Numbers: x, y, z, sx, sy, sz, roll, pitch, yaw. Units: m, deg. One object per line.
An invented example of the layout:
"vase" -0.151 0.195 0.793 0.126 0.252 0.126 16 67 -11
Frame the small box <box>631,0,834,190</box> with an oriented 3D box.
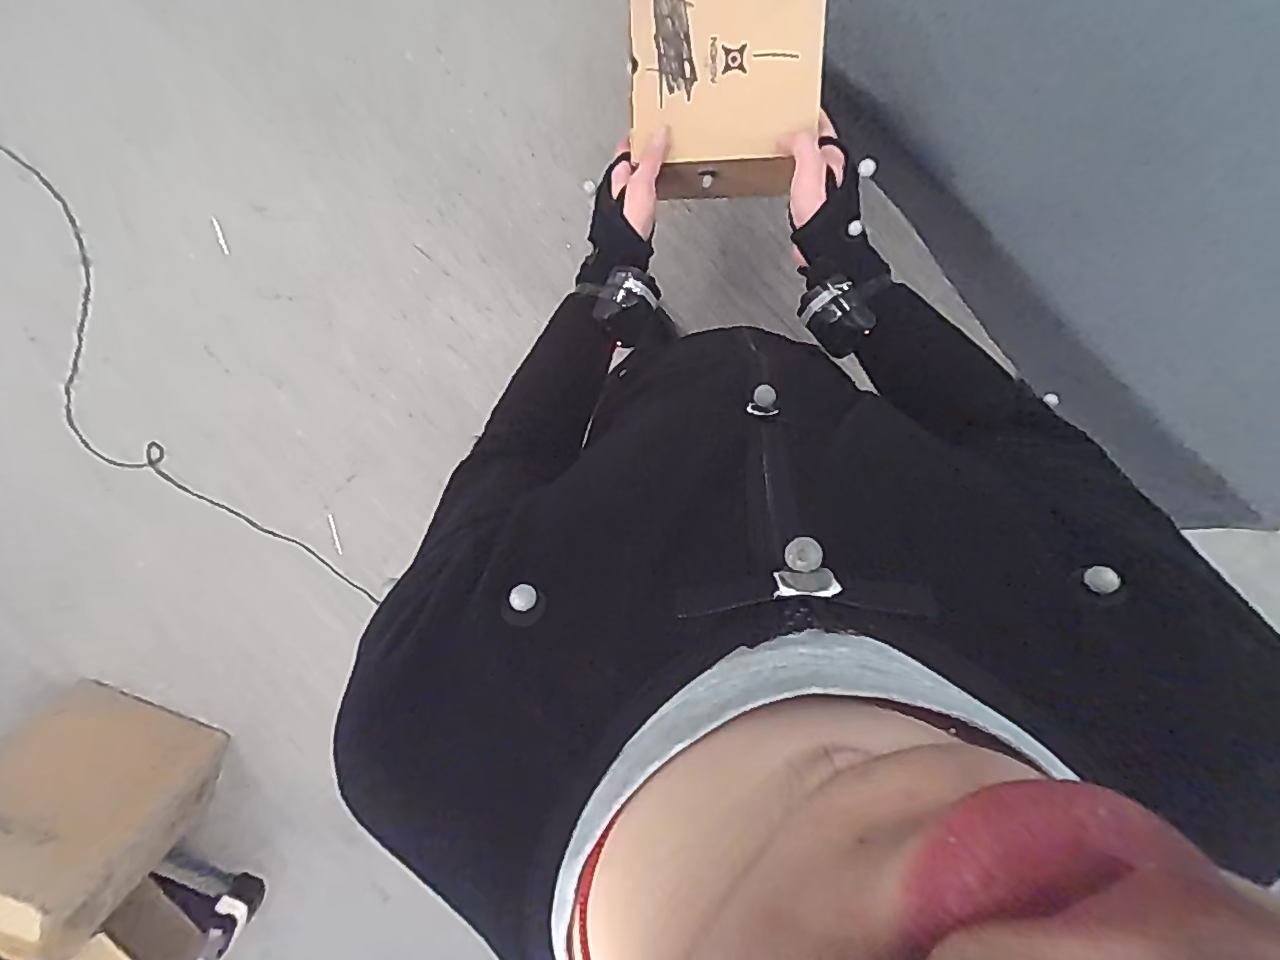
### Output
"small box" 0.084 -0.402 0.550 0.179 0.176 0.168 0 108 2
